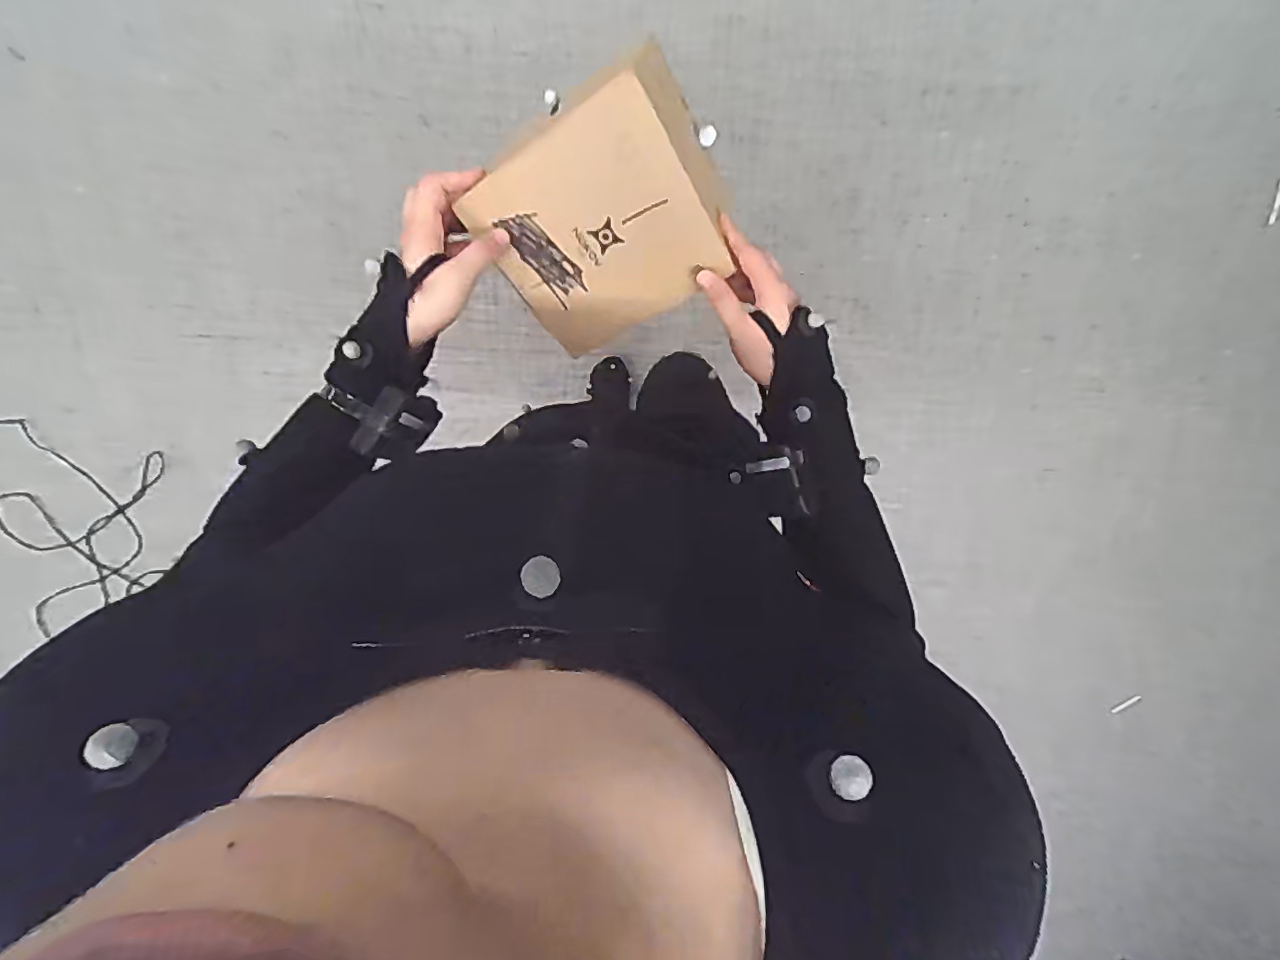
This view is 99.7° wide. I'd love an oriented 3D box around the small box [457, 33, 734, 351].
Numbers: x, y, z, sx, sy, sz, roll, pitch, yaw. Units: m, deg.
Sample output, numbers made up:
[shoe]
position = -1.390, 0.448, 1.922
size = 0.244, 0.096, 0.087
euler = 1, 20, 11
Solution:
[small box]
position = -0.027, -0.257, 0.495
size = 0.179, 0.176, 0.168
euler = -20, 132, 25
